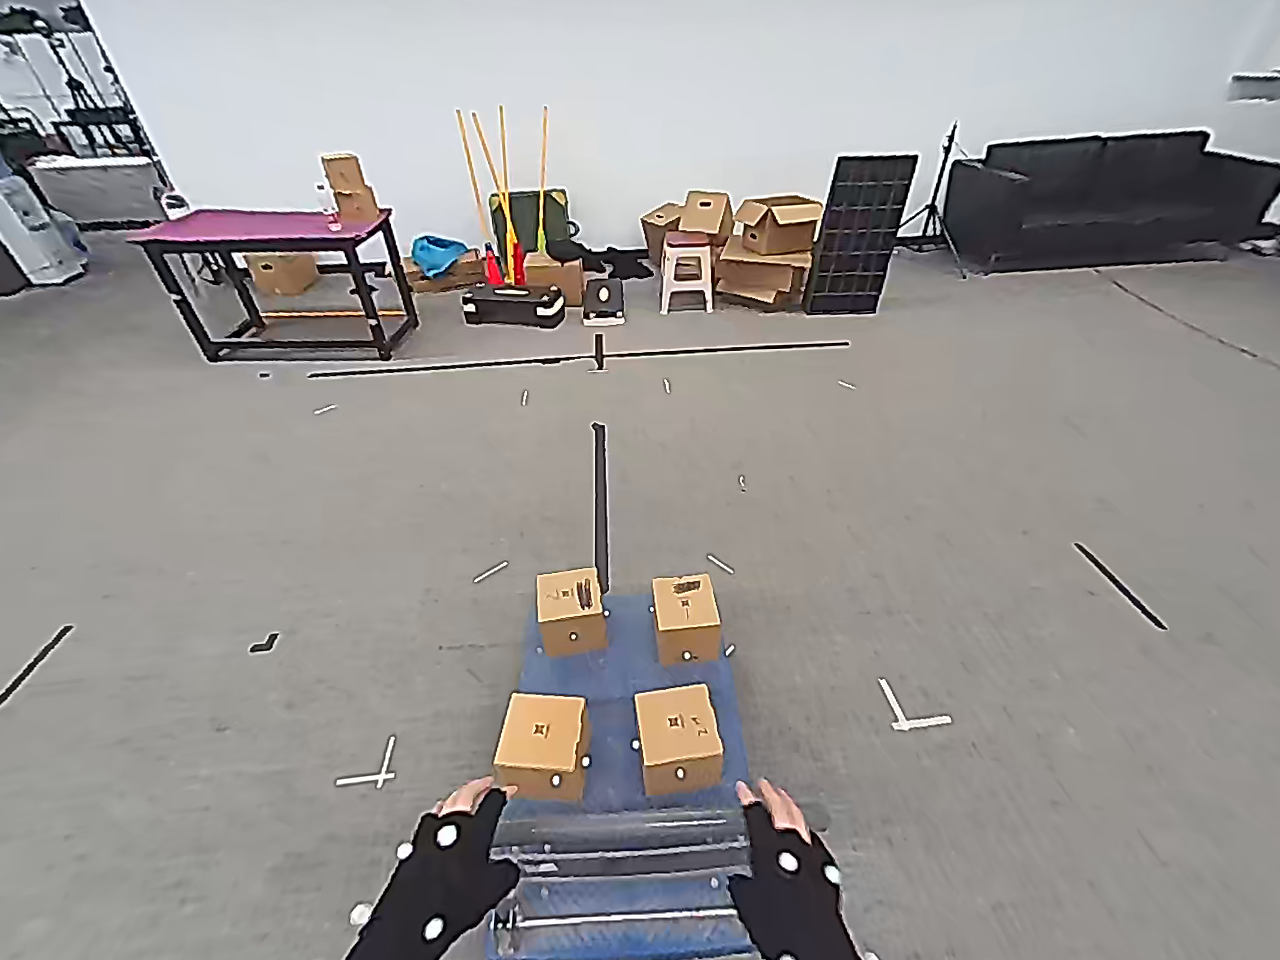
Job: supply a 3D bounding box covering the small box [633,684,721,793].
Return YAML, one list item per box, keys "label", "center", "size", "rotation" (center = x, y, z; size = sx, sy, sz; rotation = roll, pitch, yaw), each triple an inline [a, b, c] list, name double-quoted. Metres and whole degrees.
- label: "small box"
  center: [0.082, 0.603, 1.257]
  size: [0.179, 0.176, 0.168]
  rotation: [-6, 40, -5]

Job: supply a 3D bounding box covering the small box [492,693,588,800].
- label: "small box"
  center: [-0.222, 0.616, 1.251]
  size: [0.179, 0.176, 0.168]
  rotation: [3, 39, 3]

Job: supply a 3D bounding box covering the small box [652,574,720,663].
- label: "small box"
  center: [0.122, 0.388, 1.517]
  size: [0.168, 0.176, 0.179]
  rotation: [-5, 40, -3]
